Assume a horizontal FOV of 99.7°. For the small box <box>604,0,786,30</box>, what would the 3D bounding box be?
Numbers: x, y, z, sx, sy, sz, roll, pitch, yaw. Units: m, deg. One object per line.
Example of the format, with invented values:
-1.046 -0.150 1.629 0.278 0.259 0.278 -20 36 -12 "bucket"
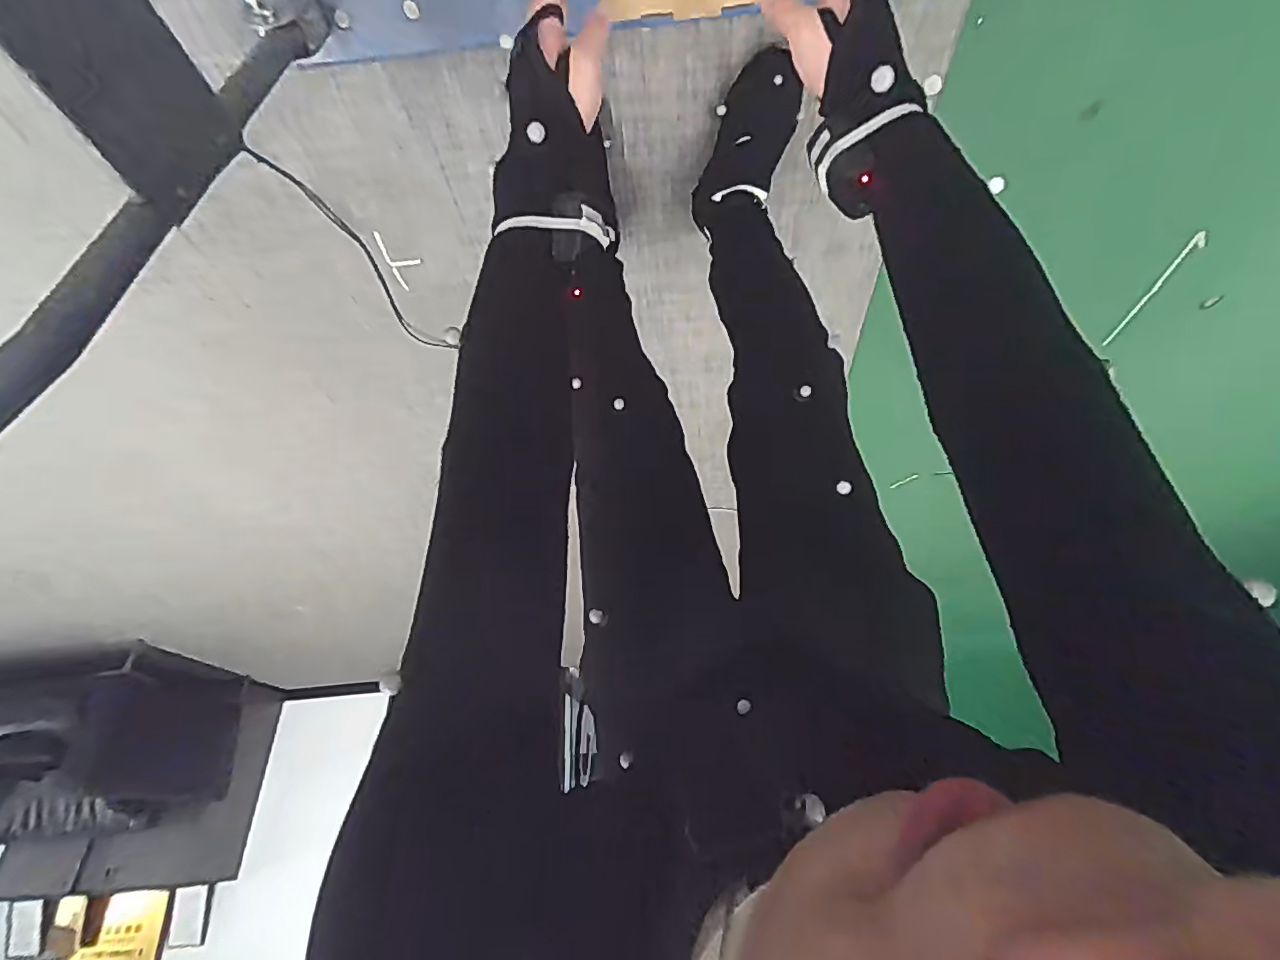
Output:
0.043 -0.533 0.464 0.168 0.176 0.179 -5 148 1 "small box"
